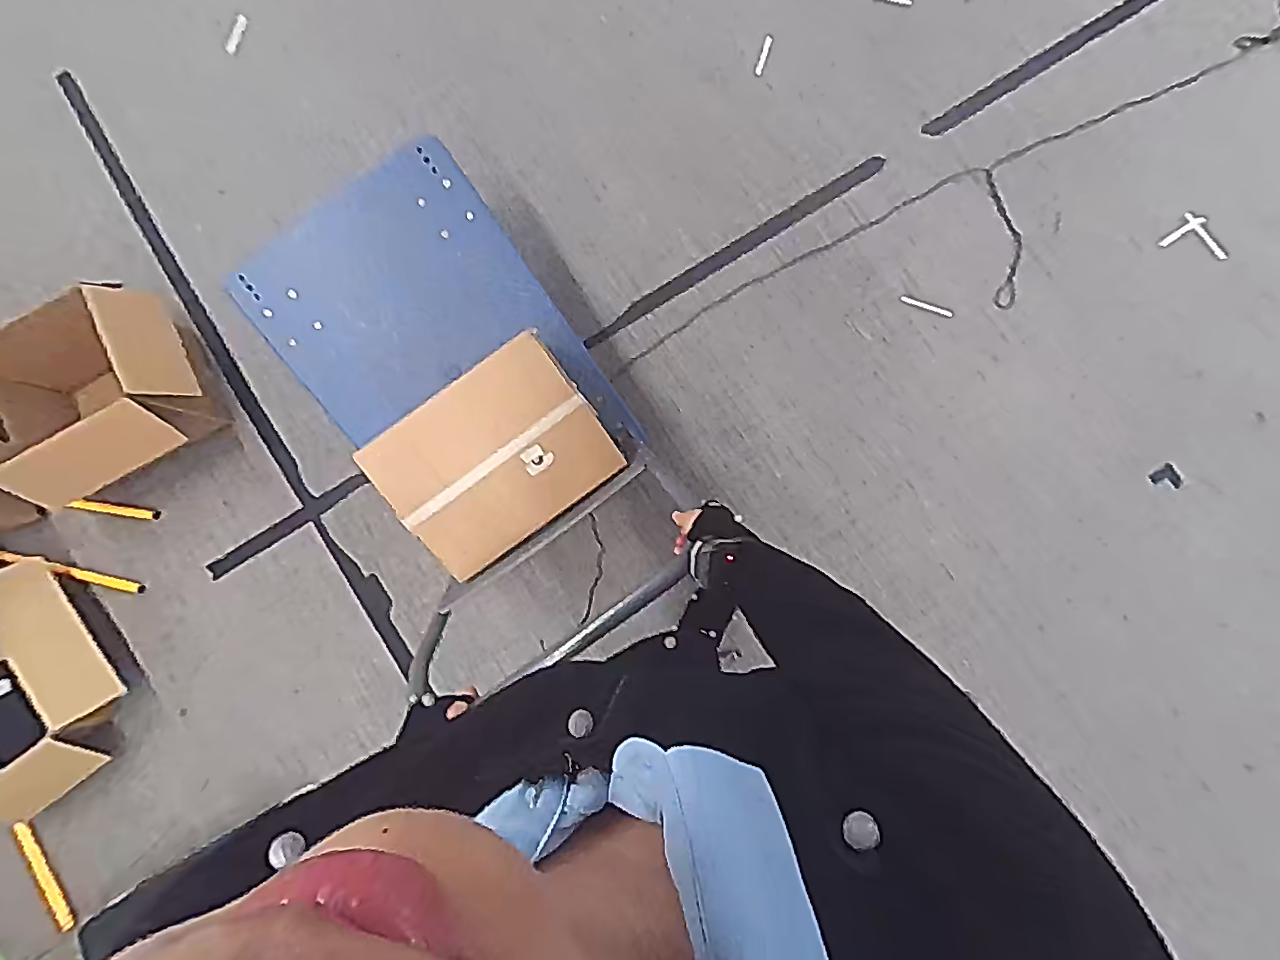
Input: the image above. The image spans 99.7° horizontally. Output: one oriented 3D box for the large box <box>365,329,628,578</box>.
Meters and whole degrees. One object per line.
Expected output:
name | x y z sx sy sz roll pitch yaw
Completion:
large box | -0.286 -0.065 1.173 0.408 0.320 0.320 -37 102 -1
